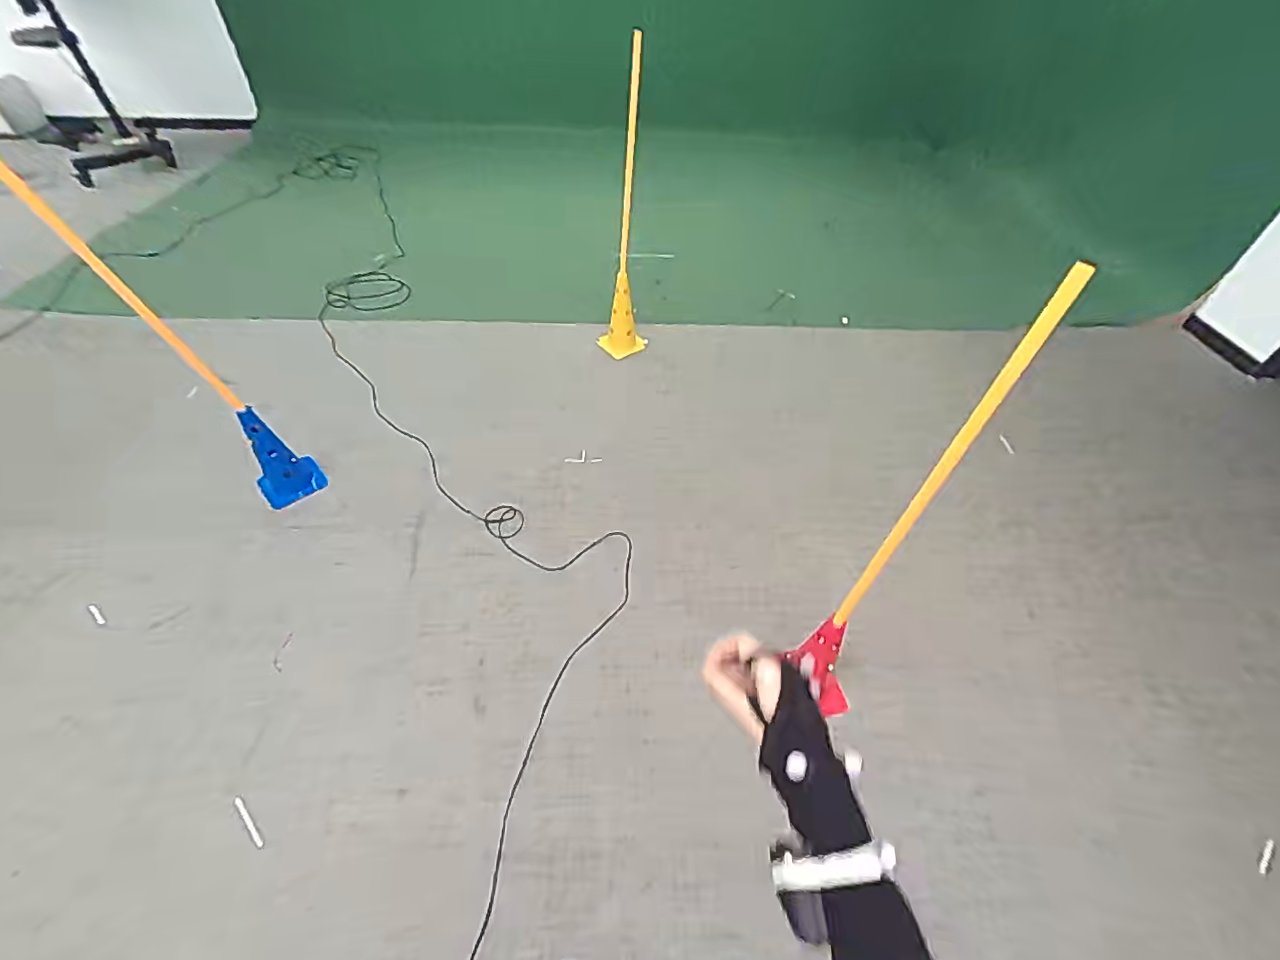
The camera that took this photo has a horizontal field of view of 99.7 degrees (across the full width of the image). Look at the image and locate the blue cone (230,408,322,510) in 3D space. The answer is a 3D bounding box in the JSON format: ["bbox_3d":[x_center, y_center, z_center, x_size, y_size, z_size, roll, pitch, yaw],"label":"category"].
[{"bbox_3d":[-1.279,-0.089,1.849,0.193,0.380,0.192,-37,59,-28],"label":"blue cone"}]
